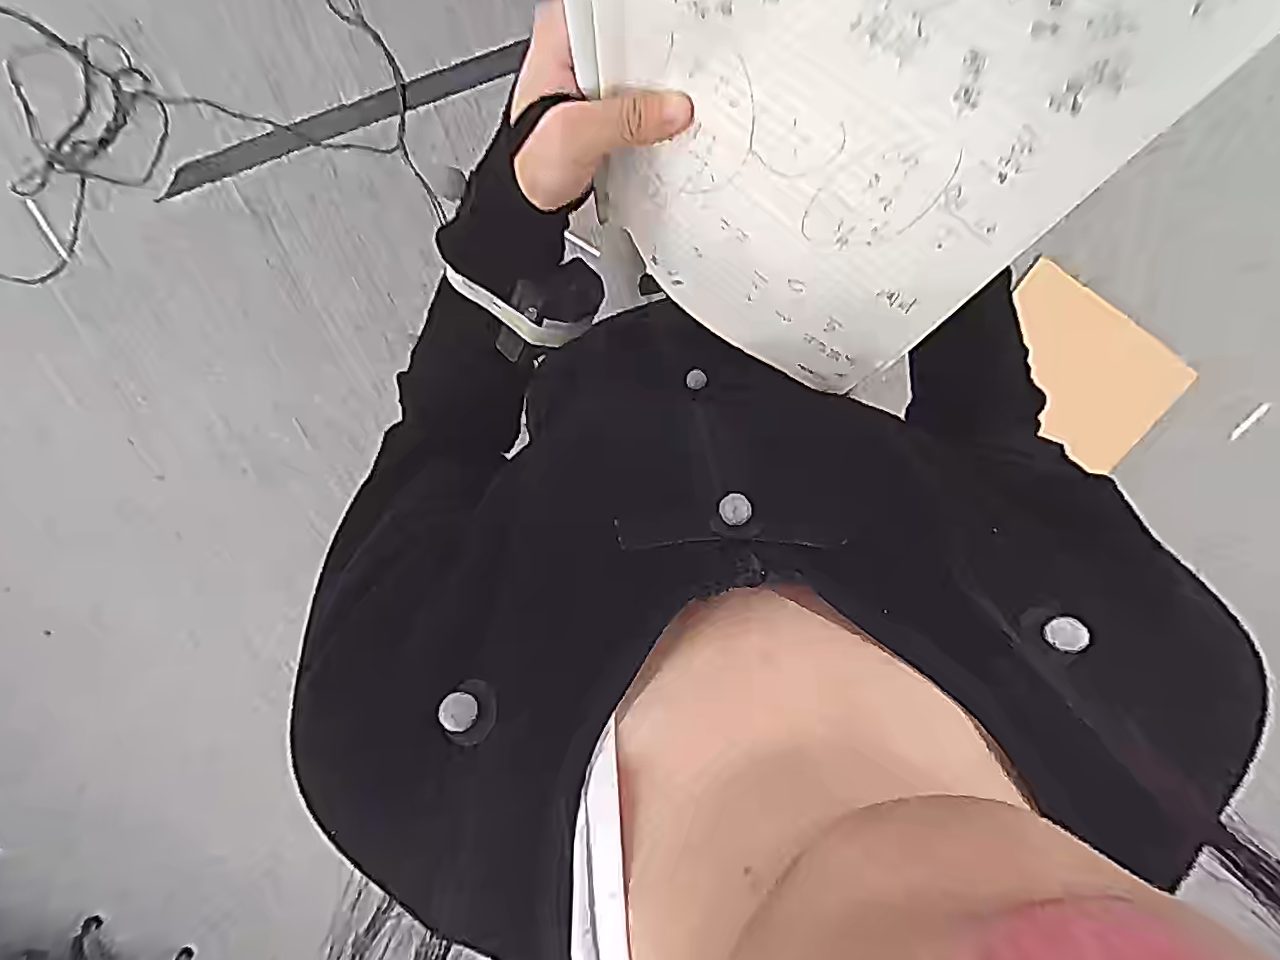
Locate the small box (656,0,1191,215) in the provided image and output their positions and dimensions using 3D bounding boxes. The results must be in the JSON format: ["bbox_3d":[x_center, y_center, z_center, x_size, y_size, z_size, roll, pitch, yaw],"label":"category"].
[{"bbox_3d":[0.125,-0.251,0.247,0.179,0.176,0.168,-10,156,-17],"label":"small box"}]
